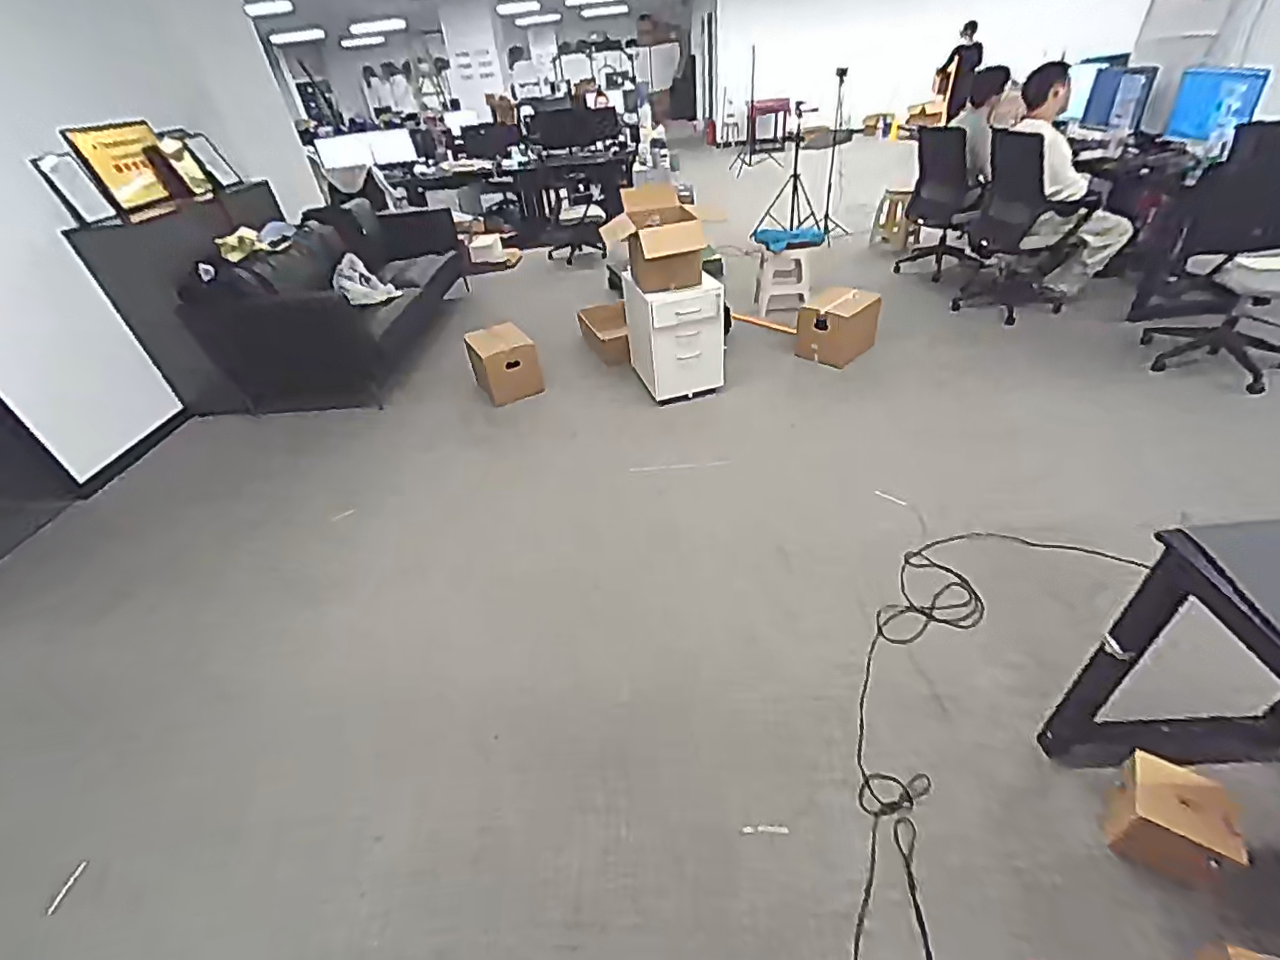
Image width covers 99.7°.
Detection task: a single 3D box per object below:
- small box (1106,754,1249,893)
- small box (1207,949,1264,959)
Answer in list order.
[{"bbox_3d":[1.164,0.756,1.188,0.179,0.176,0.168,19,43,29],"label":"small box"},{"bbox_3d":[1.102,0.959,0.923,0.168,0.176,0.179,6,37,15],"label":"small box"}]
